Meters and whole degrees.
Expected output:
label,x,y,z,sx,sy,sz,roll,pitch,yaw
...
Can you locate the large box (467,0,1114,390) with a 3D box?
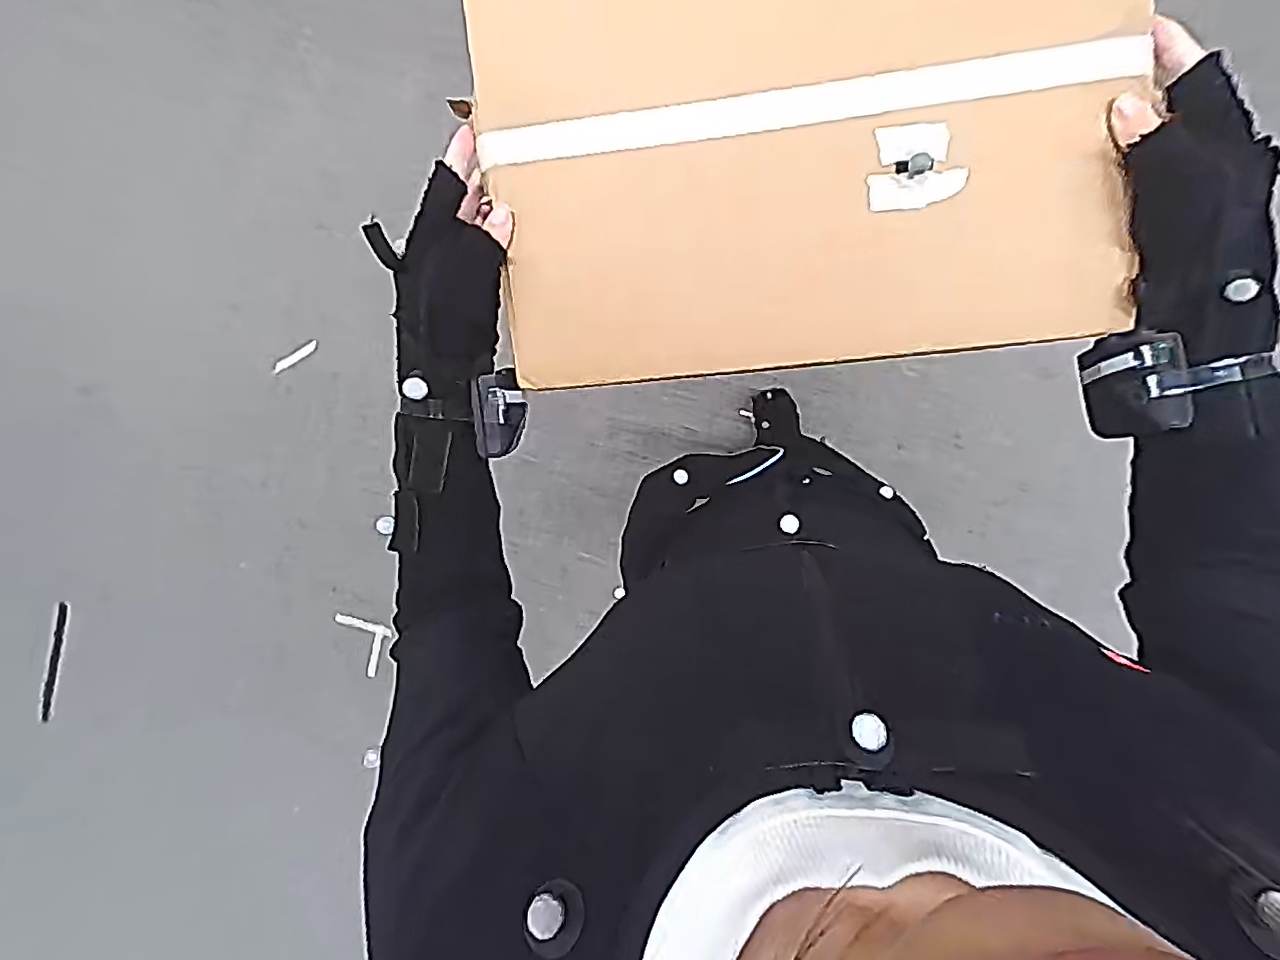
label,x,y,z,sx,sy,sz,roll,pitch,yaw
large box,0.103,-0.264,0.499,0.408,0.320,0.320,-6,101,4
